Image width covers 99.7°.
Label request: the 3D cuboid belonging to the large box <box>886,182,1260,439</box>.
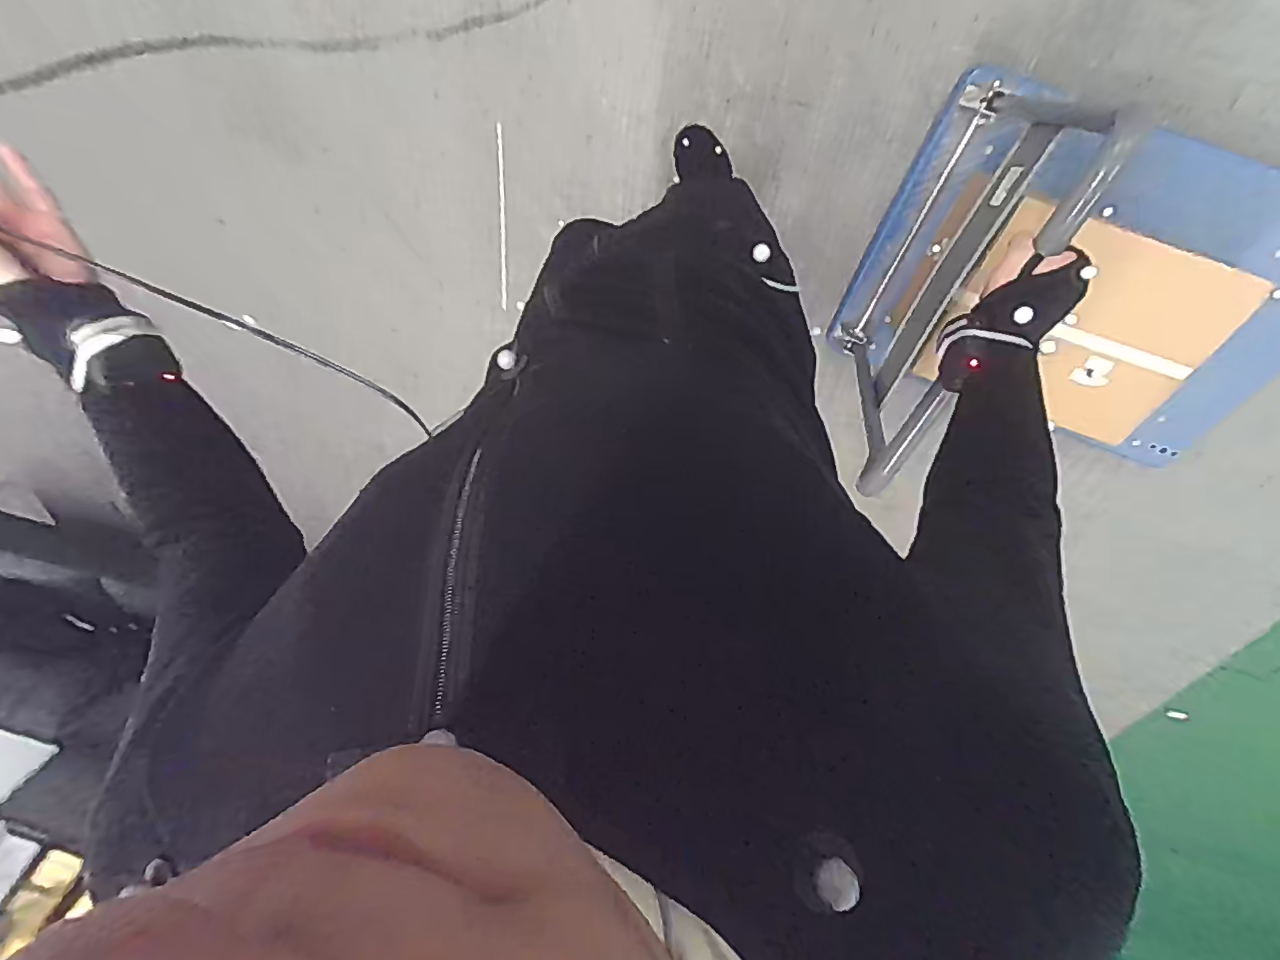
[{"bbox_3d":[0.756,-0.336,1.039,0.408,0.320,0.320,20,128,1],"label":"large box"}]
